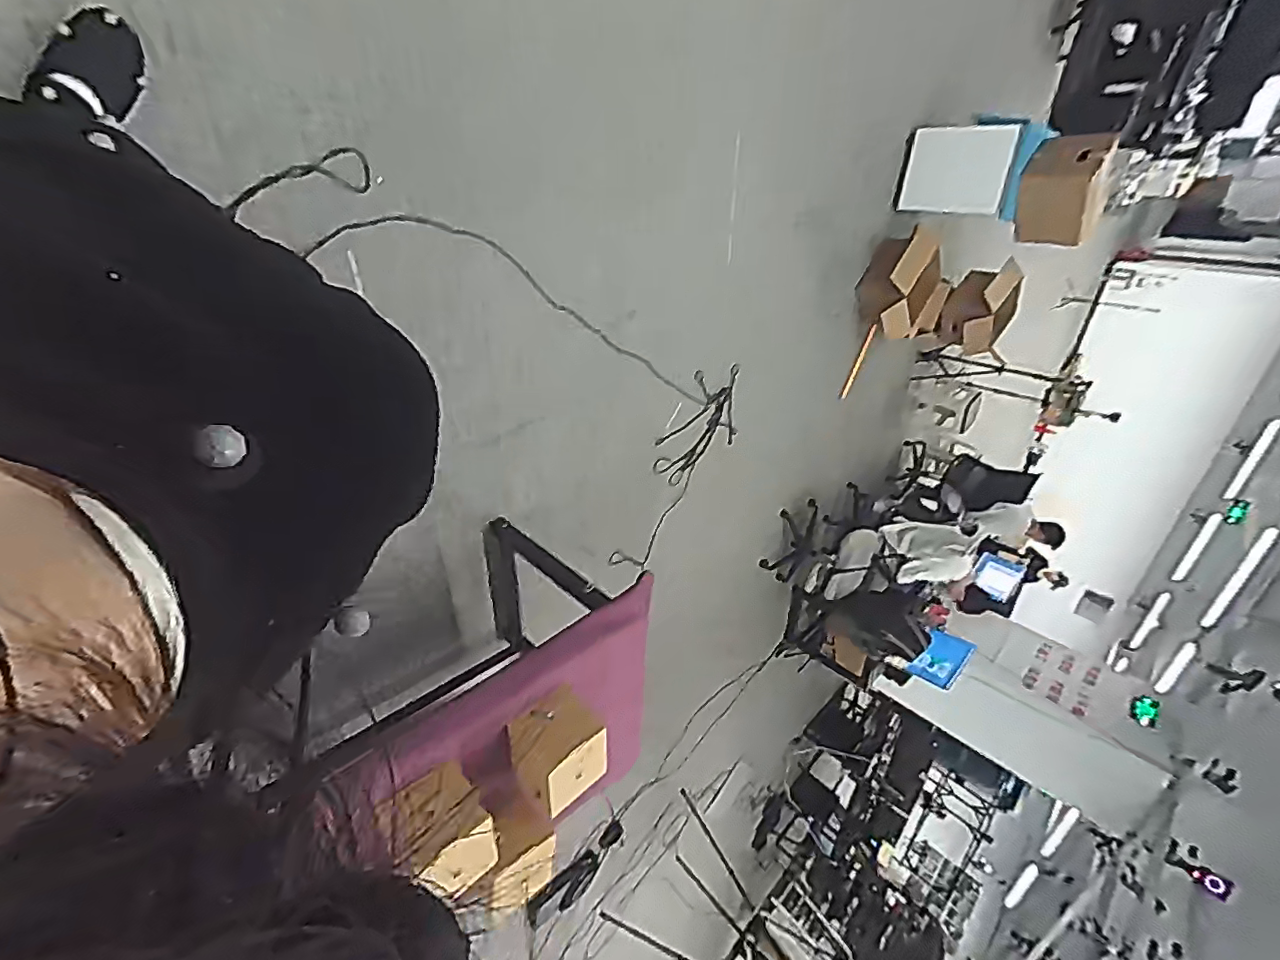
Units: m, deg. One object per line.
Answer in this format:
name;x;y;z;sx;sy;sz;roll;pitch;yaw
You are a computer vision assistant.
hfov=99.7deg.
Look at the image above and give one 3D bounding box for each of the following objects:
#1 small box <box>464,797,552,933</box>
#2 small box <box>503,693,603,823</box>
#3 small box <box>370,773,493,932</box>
small box;-0.331;0.895;1.282;0.168;0.176;0.179;-12;120;-44
small box;-0.205;0.647;1.278;0.168;0.176;0.179;-25;129;-39
small box;-0.417;0.729;1.083;0.168;0.176;0.179;-23;128;-39
